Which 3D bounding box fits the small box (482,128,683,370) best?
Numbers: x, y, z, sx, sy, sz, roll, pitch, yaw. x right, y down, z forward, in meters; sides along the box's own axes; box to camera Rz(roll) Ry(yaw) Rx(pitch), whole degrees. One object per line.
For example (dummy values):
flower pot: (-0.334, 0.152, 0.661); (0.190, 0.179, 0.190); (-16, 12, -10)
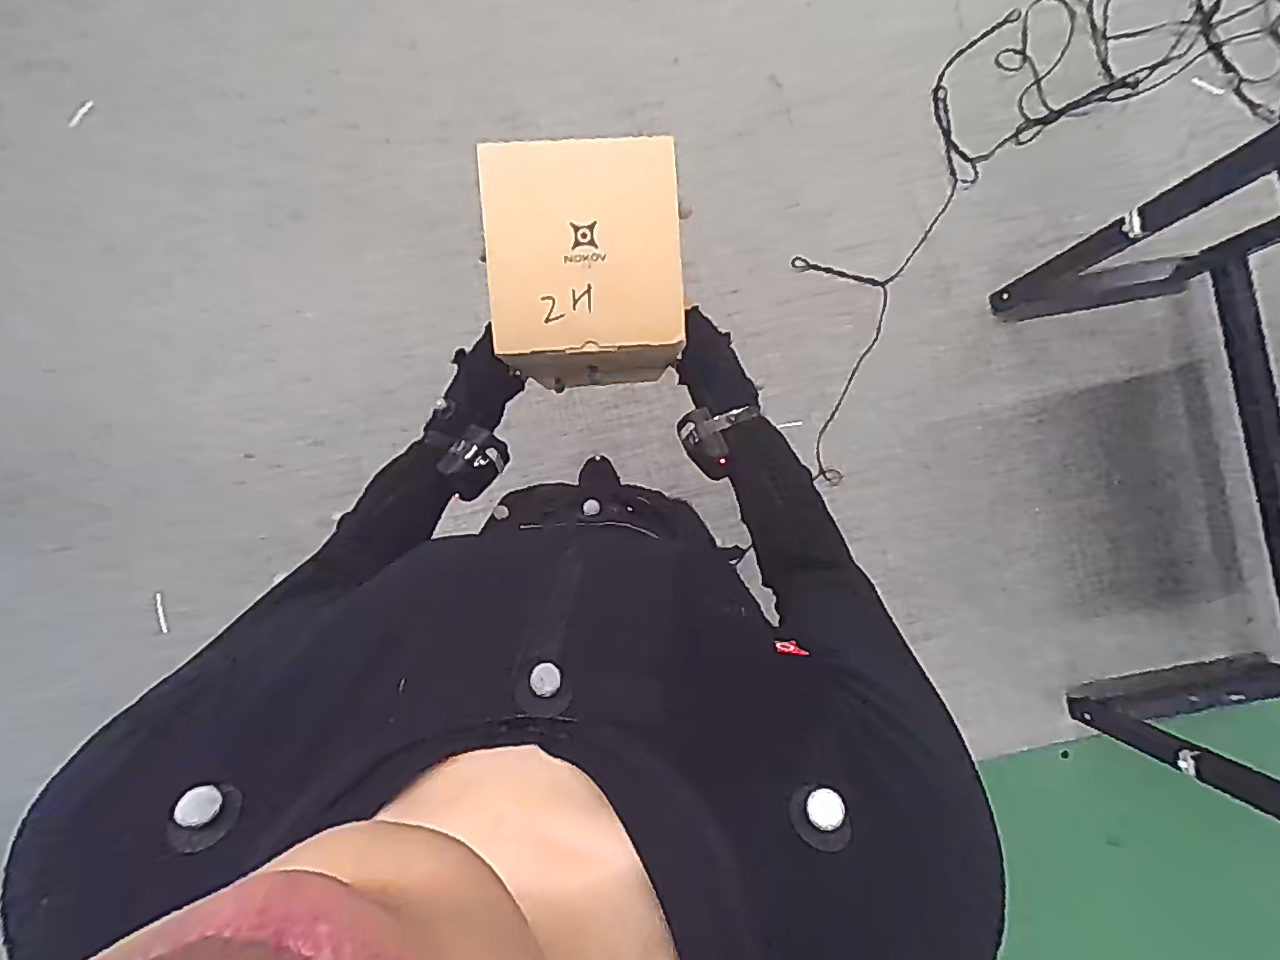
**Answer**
small box: (-0.051, -0.210, 0.534); (0.168, 0.176, 0.179); (-3, 94, -2)
